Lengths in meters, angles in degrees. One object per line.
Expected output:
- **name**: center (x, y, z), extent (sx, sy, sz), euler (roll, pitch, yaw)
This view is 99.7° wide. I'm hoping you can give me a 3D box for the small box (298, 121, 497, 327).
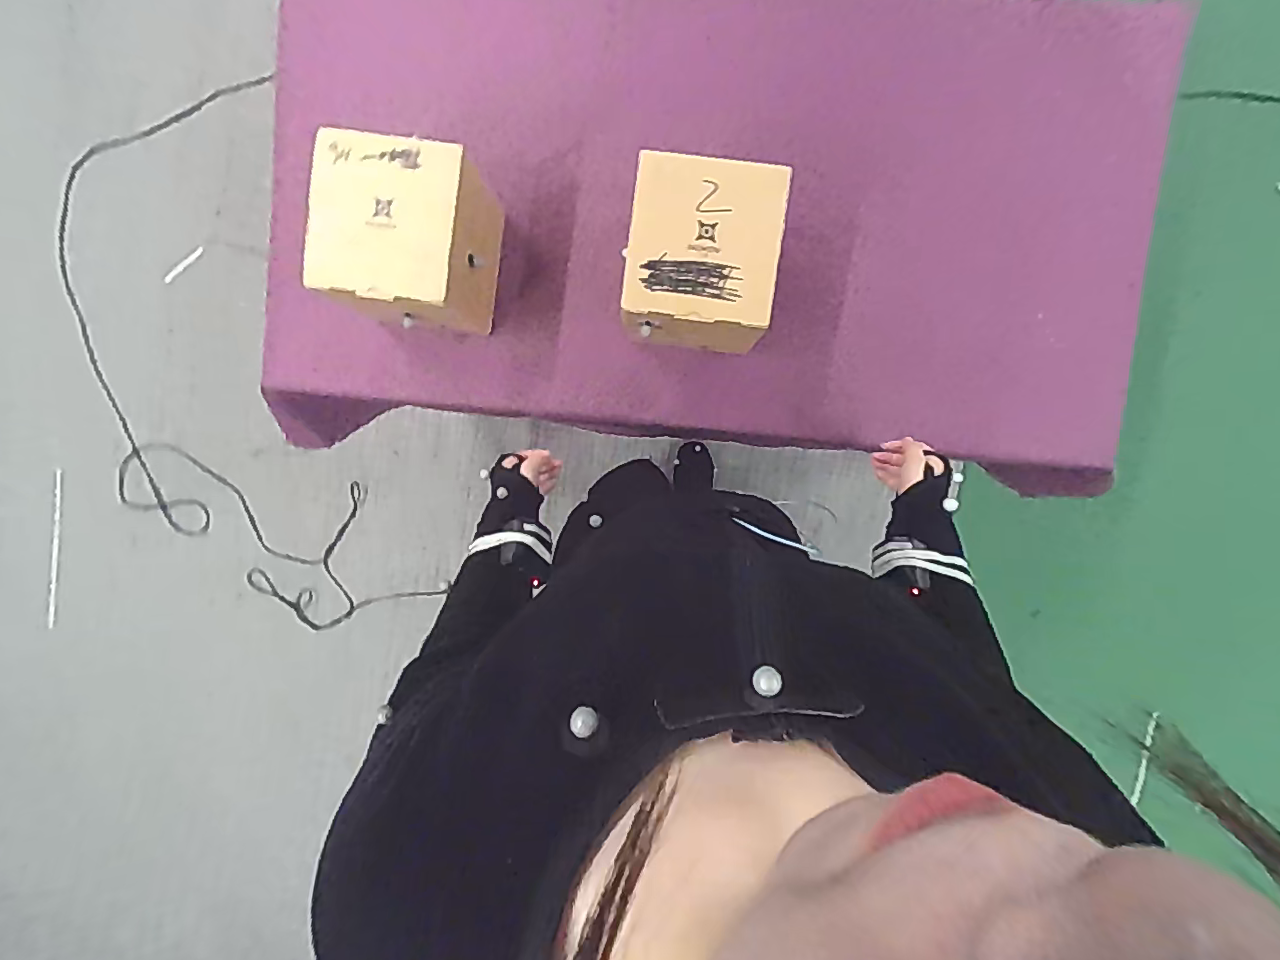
- **small box**: center (-0.287, -0.300, 0.674), extent (0.168, 0.176, 0.179), euler (9, 95, 0)
